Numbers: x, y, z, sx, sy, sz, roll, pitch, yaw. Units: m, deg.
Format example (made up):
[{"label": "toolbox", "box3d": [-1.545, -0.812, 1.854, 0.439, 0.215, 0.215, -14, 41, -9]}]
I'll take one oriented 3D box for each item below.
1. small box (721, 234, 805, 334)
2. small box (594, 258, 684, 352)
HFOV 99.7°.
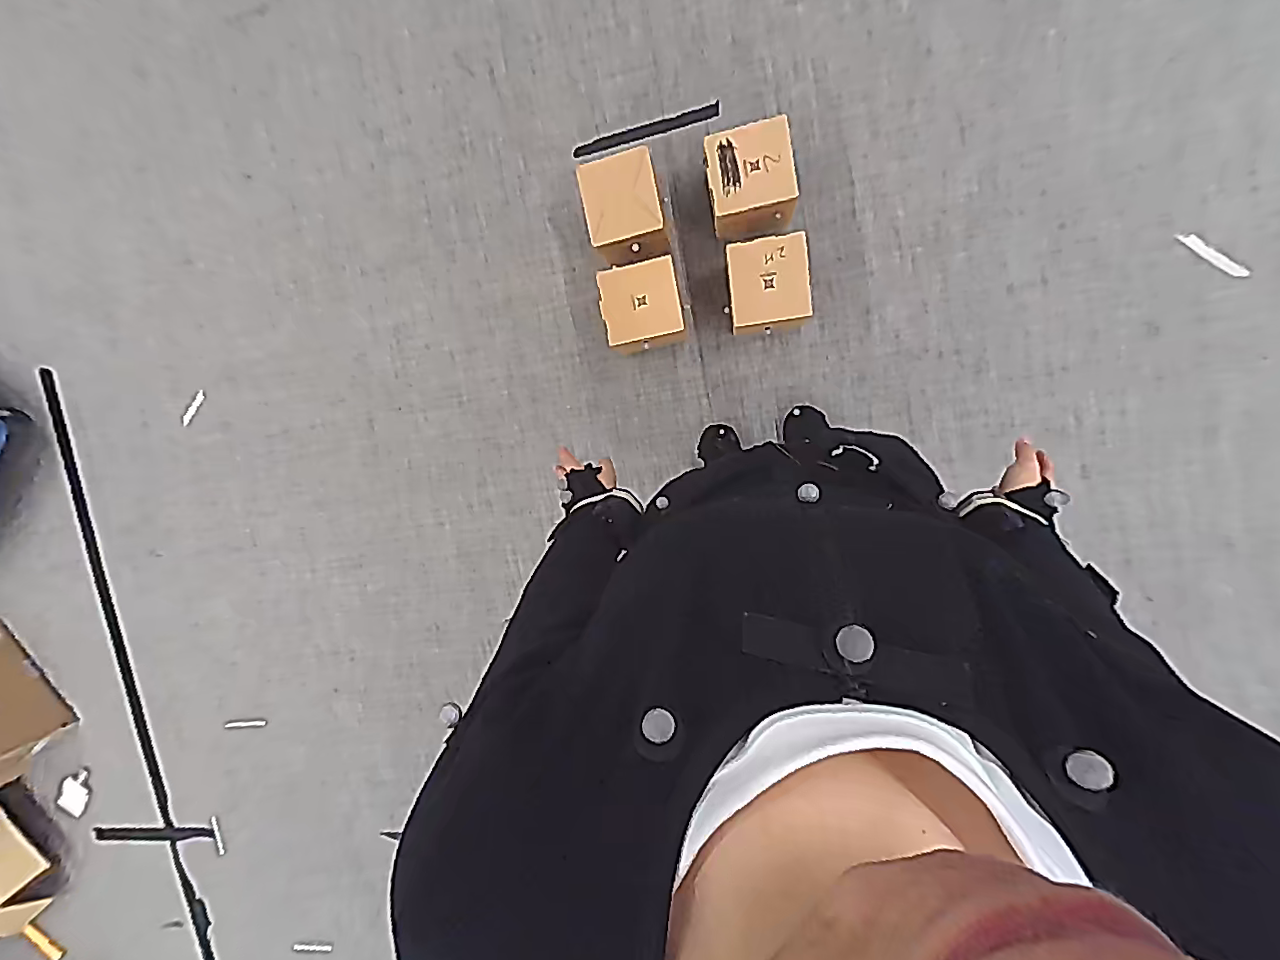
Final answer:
[{"label": "small box", "box3d": [0.277, -0.433, 1.229, 0.168, 0.176, 0.179, -6, 97, 10]}, {"label": "small box", "box3d": [0.006, -0.407, 1.281, 0.179, 0.176, 0.168, -10, 96, 12]}]
